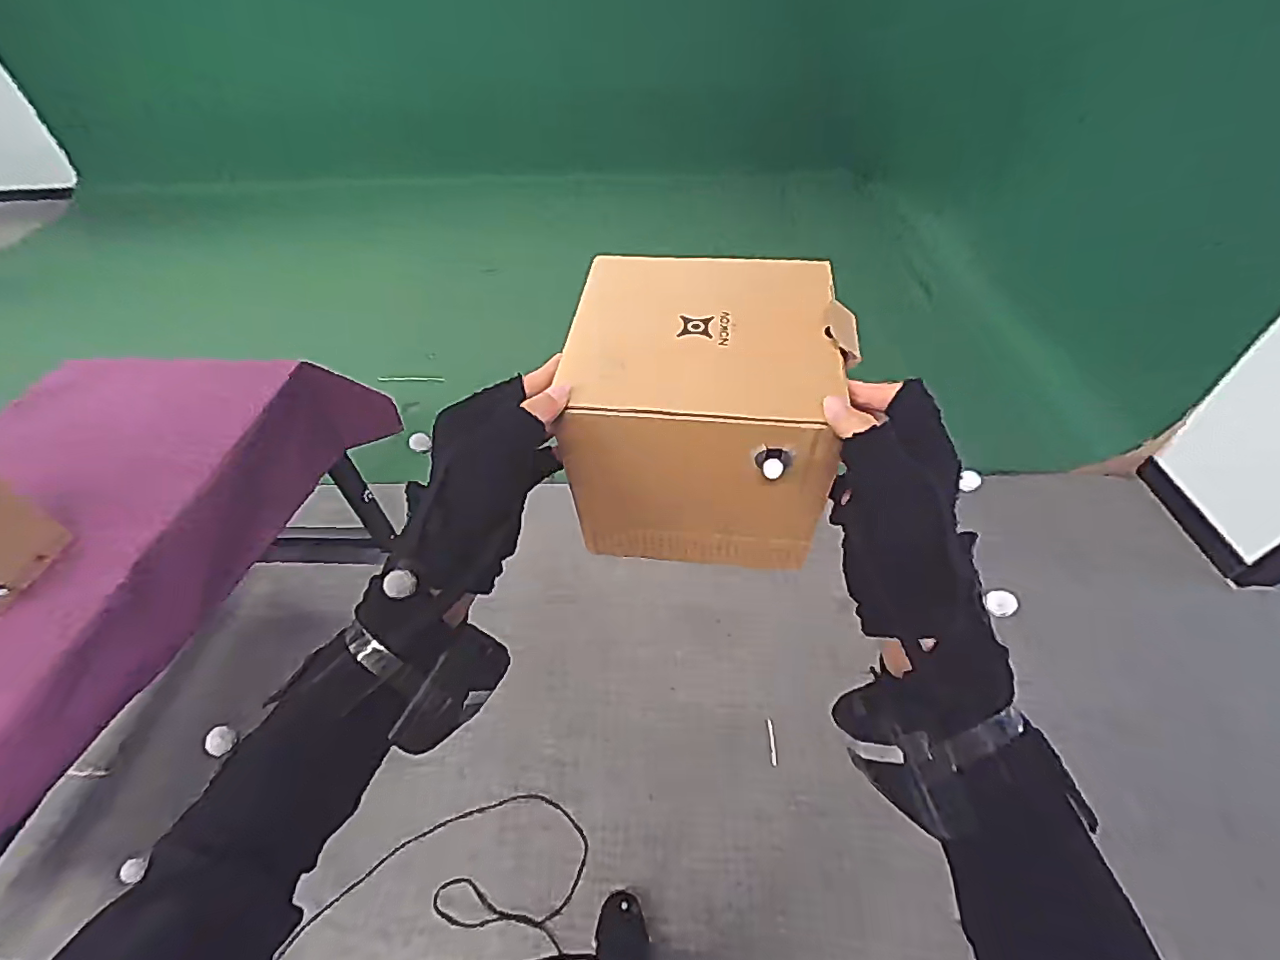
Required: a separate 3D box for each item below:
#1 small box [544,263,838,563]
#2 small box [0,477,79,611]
[{"bbox_3d":[0.042,-0.049,0.426,0.179,0.176,0.168,4,51,6],"label":"small box"},{"bbox_3d":[-1.093,0.107,0.869,0.179,0.176,0.168,2,47,6],"label":"small box"}]
